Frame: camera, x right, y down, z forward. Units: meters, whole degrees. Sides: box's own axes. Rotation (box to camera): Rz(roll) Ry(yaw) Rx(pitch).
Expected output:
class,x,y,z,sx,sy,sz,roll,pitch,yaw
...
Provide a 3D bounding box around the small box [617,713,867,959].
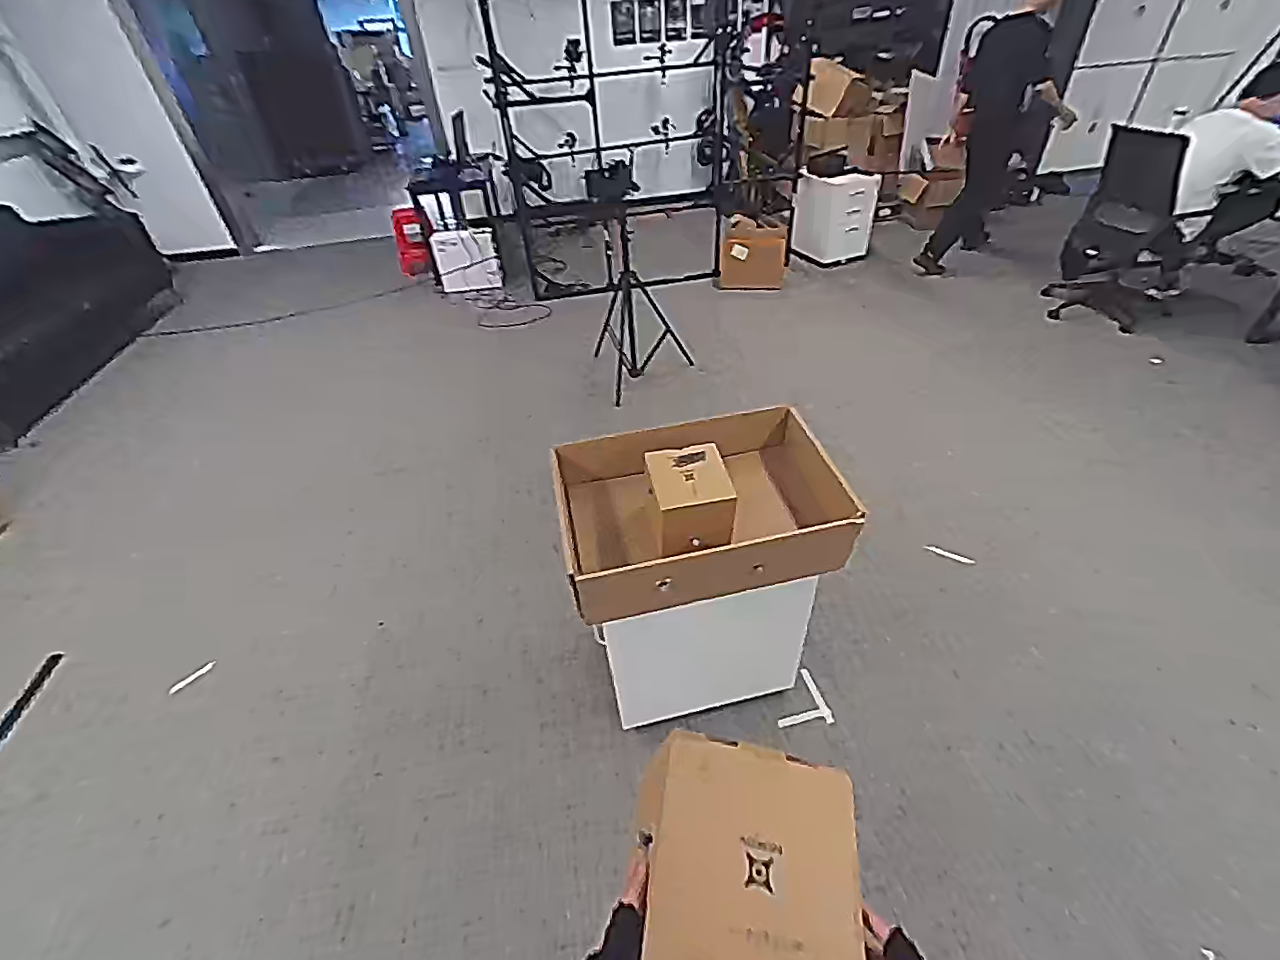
class,x,y,z,sx,sy,sz,roll,pitch,yaw
small box,0.082,0.342,0.486,0.168,0.176,0.179,14,48,0

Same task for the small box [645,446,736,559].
class,x,y,z,sx,sy,sz,roll,pitch,yaw
small box,0.107,0.051,1.221,0.168,0.176,0.179,-10,46,-6
